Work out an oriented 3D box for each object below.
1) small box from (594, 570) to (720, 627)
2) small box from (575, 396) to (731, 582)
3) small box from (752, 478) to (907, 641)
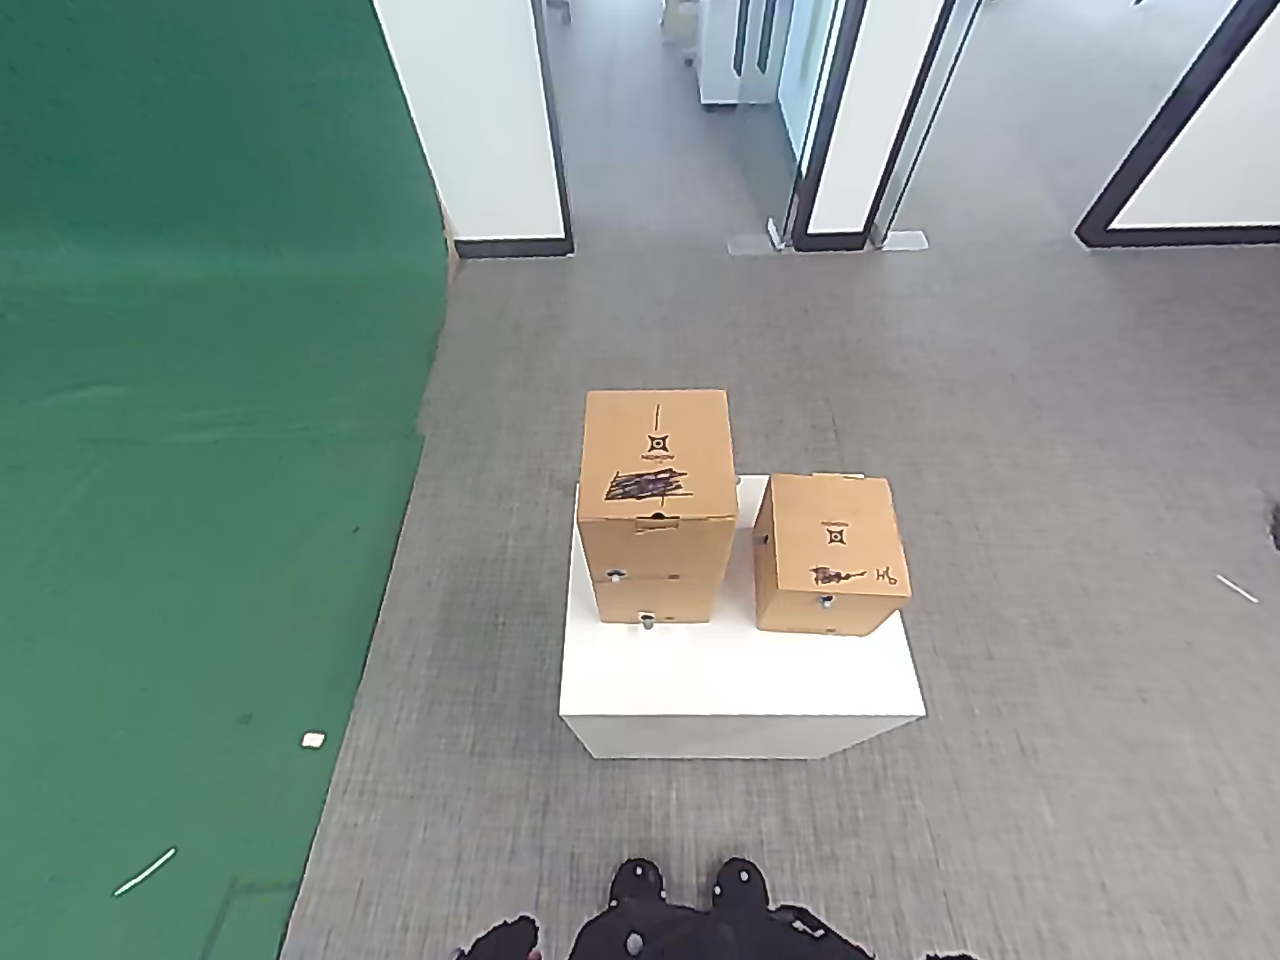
[{"bbox_3d":[0.023,0.107,0.803,0.168,0.176,0.179,-2,58,1],"label":"small box"},{"bbox_3d":[0.019,0.017,0.665,0.168,0.176,0.179,0,56,2],"label":"small box"},{"bbox_3d":[0.259,0.118,0.787,0.168,0.176,0.179,3,57,4],"label":"small box"}]
